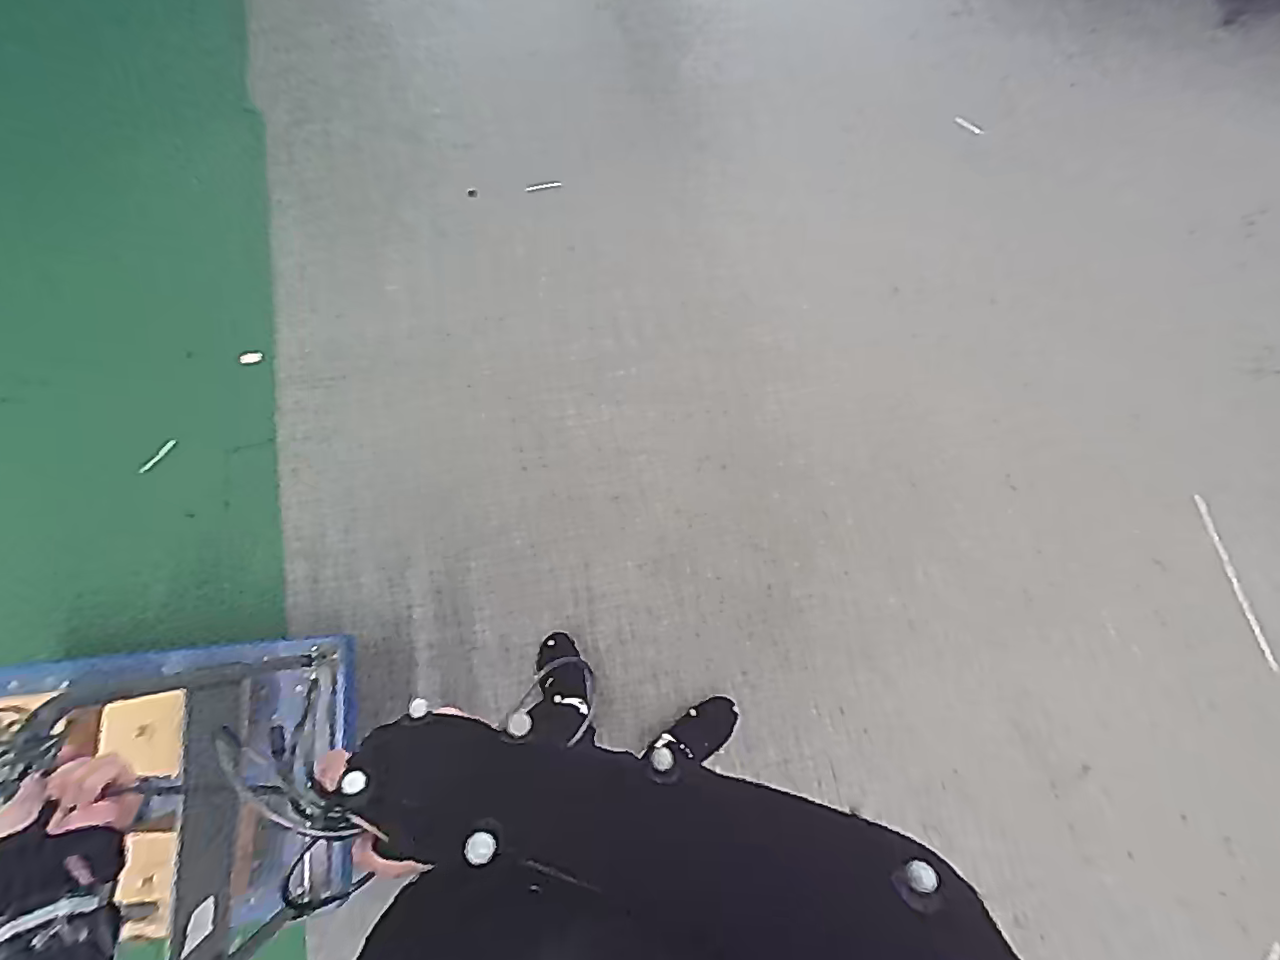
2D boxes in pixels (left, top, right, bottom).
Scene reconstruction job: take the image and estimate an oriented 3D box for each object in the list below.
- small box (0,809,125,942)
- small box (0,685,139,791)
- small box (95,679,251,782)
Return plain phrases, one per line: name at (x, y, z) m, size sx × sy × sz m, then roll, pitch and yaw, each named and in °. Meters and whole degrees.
small box at (-1.198, 0.787, 1.087) m, size 0.179 × 0.176 × 0.168 m, roll -9°, pitch 77°, yaw -1°
small box at (-1.223, 0.539, 1.143) m, size 0.179 × 0.176 × 0.168 m, roll -7°, pitch 78°, yaw -2°
small box at (-0.977, 0.522, 1.145) m, size 0.179 × 0.176 × 0.168 m, roll -3°, pitch 77°, yaw -1°
